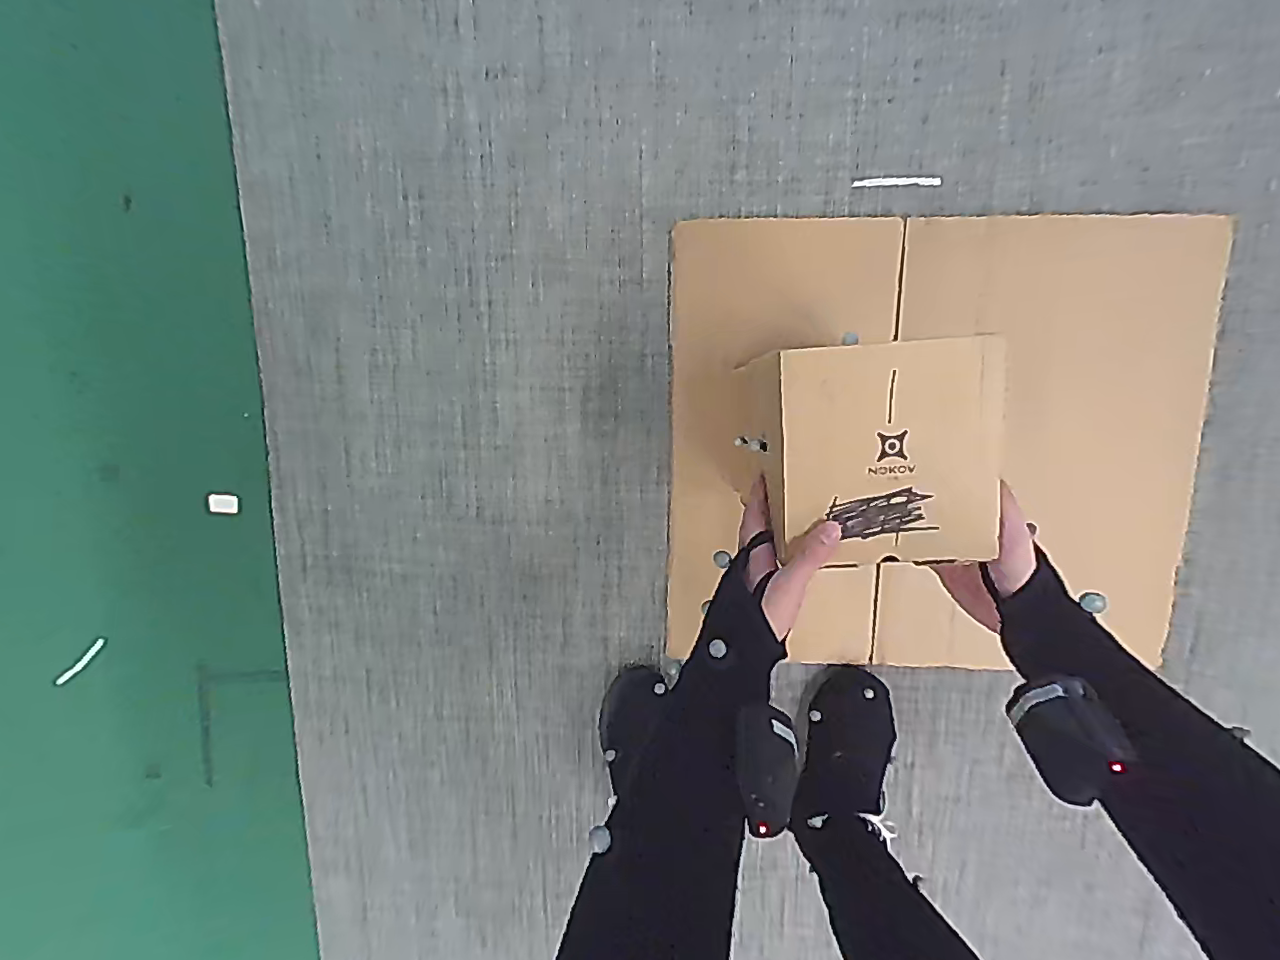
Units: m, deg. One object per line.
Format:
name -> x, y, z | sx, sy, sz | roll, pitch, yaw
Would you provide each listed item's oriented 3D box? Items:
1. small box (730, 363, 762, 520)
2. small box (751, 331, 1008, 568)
small box -> 0.205, -0.057, 0.649 | 0.168, 0.176, 0.179 | -7, 99, 5
small box -> 0.194, -0.032, 0.488 | 0.168, 0.176, 0.179 | -3, 98, 4
